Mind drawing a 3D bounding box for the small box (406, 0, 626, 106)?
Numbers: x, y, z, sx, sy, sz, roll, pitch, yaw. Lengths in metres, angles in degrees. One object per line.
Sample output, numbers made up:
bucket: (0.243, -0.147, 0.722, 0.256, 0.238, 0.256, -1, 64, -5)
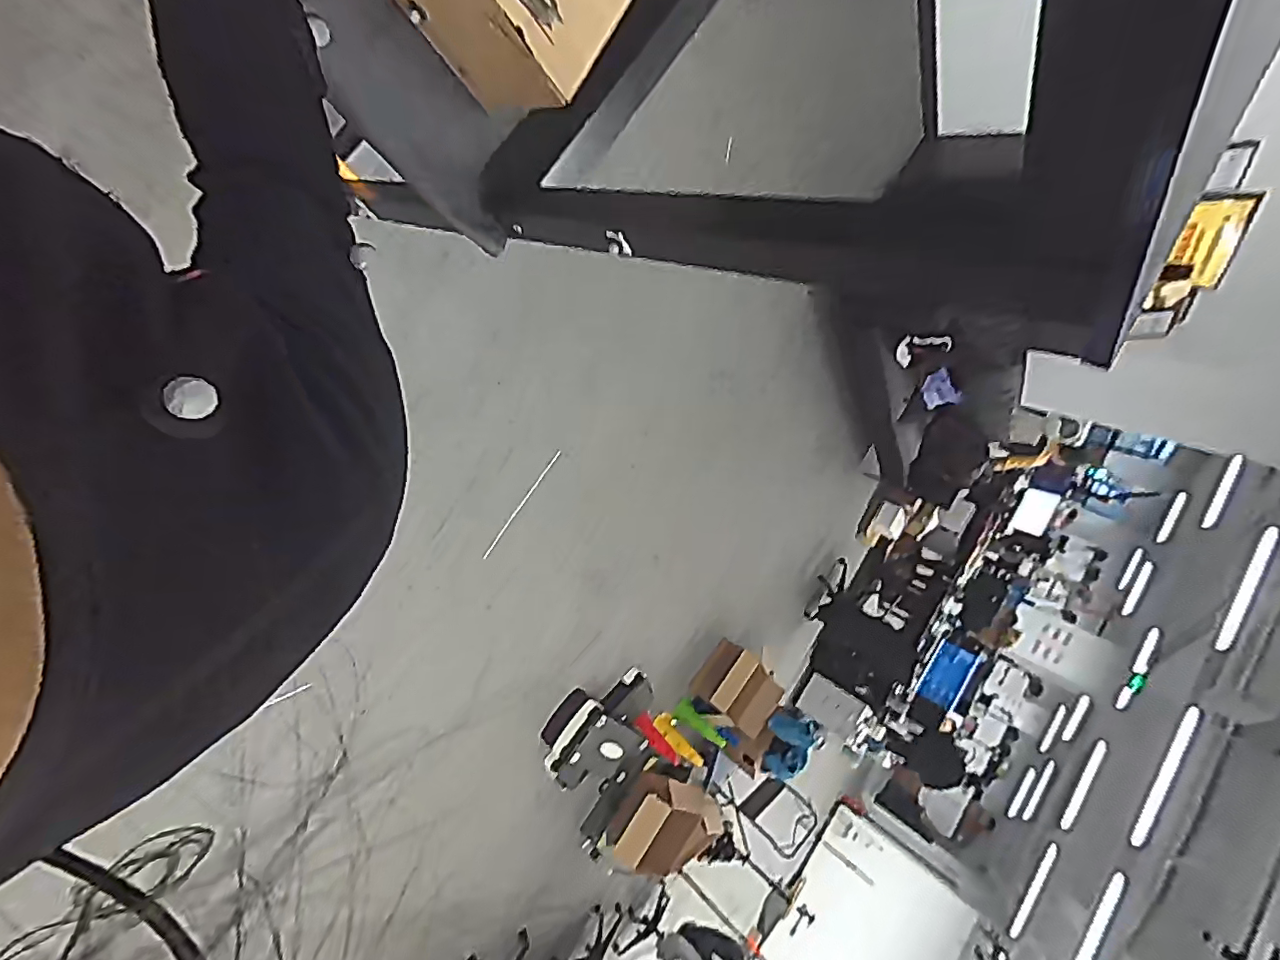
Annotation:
small box: (-0.148, -0.570, 0.621, 0.168, 0.176, 0.179, 36, 81, -52)
